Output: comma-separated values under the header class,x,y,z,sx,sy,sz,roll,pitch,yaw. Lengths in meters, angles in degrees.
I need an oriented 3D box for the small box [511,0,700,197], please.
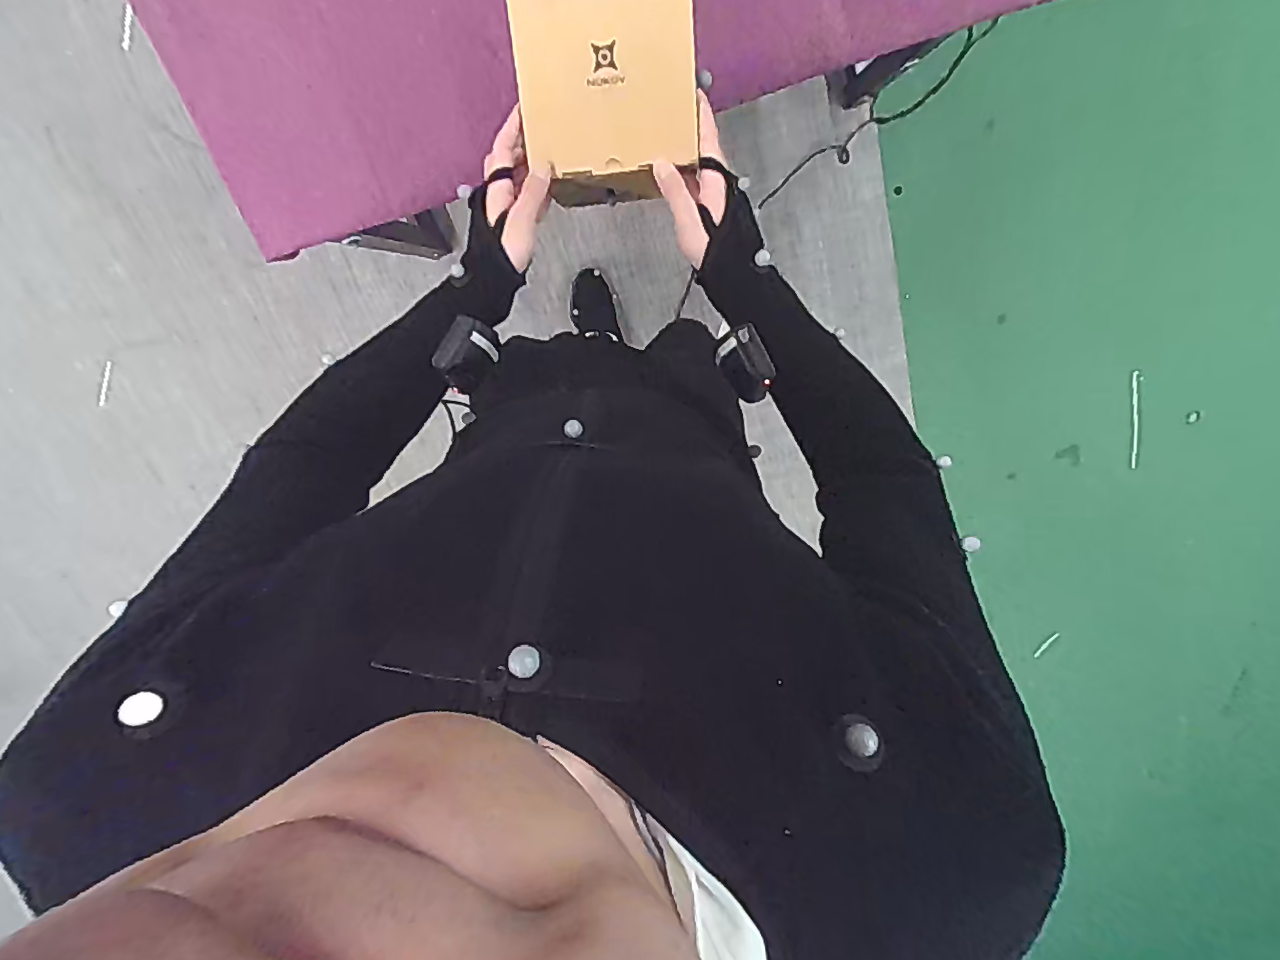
class,x,y,z,sx,sy,sz,roll,pitch,yaw
small box,-0.029,-0.410,0.563,0.168,0.176,0.179,-4,110,3
